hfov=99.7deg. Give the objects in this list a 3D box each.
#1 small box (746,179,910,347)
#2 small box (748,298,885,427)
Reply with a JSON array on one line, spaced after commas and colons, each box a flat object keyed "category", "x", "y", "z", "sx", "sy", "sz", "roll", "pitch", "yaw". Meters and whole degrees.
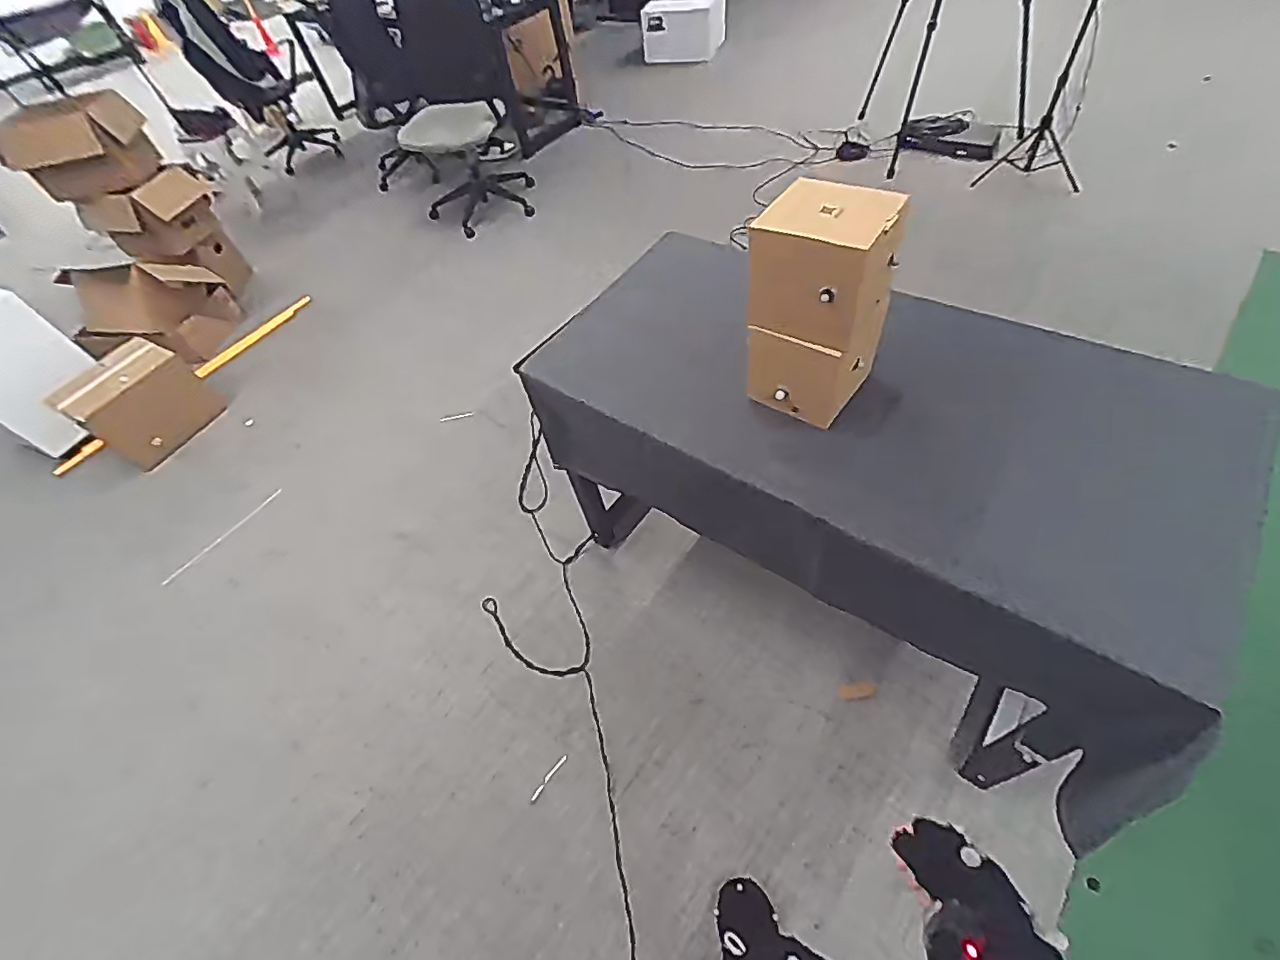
[{"category": "small box", "x": 0.279, "y": -0.332, "z": 0.835, "sx": 0.179, "sy": 0.176, "sz": 0.168, "roll": 27, "pitch": 60, "yaw": 27}, {"category": "small box", "x": 0.302, "y": -0.228, "z": 0.959, "sx": 0.168, "sy": 0.176, "sz": 0.179, "roll": 29, "pitch": 63, "yaw": 28}]
